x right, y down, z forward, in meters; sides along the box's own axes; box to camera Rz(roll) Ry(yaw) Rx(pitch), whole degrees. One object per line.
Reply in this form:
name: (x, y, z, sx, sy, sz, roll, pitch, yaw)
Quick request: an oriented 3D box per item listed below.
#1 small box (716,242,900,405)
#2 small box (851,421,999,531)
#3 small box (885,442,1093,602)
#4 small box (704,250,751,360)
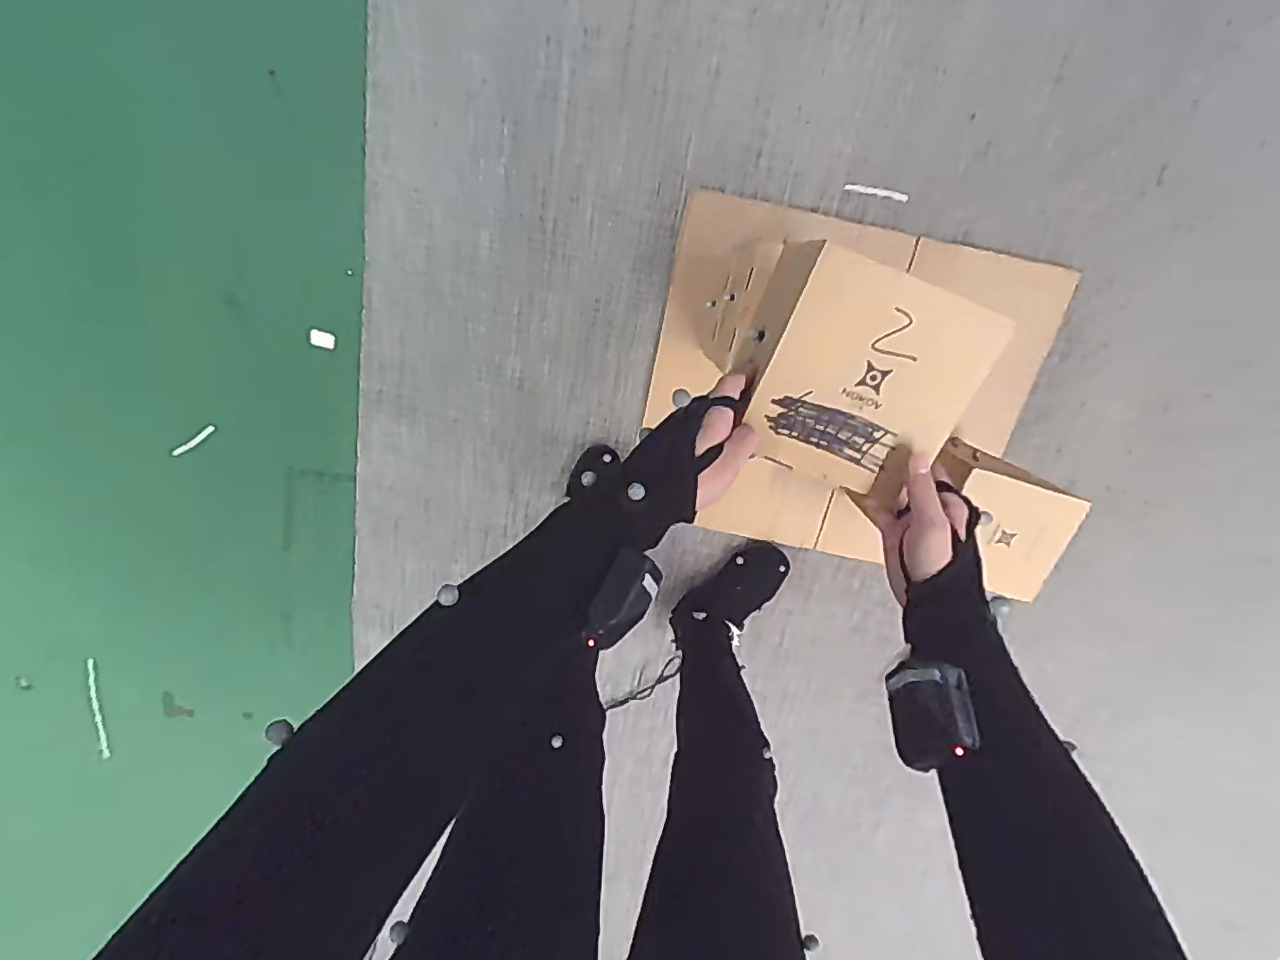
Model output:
small box: (0.213, -0.216, 0.740, 0.179, 0.176, 0.168, 13, 110, -1)
small box: (0.514, 0.003, 0.975, 0.179, 0.176, 0.168, 14, 109, -2)
small box: (0.506, 0.053, 0.819, 0.179, 0.176, 0.168, 17, 109, -3)
small box: (0.214, -0.270, 0.892, 0.179, 0.176, 0.168, 13, 109, -2)
